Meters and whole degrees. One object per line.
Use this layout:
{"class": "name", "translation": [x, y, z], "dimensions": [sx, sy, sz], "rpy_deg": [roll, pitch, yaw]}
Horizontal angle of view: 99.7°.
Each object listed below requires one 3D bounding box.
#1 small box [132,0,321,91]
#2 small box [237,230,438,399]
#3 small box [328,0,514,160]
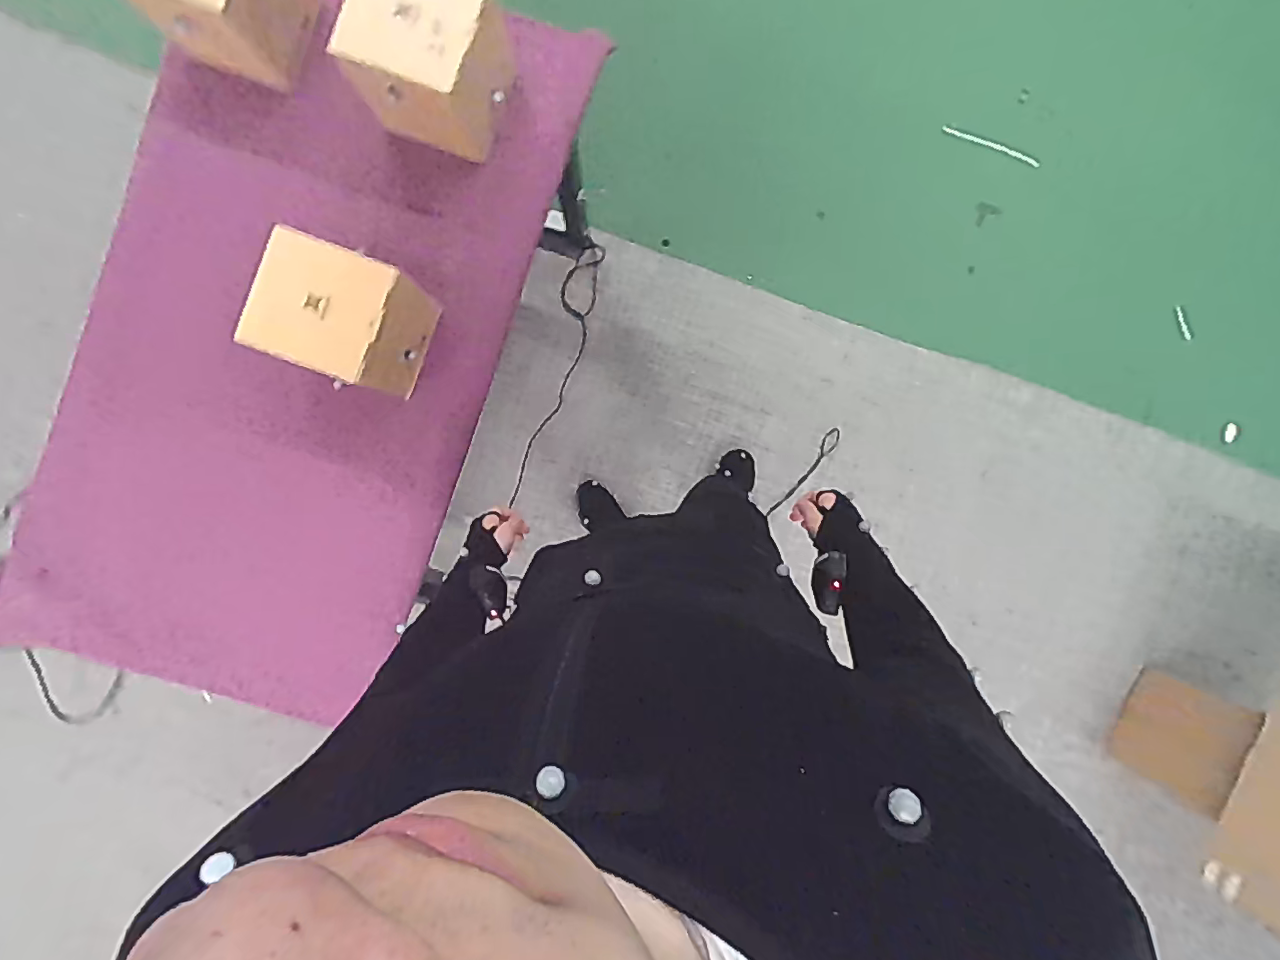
{"class": "small box", "translation": [-0.614, -0.720, 0.788], "dimensions": [0.179, 0.176, 0.168], "rpy_deg": [19, 92, -4]}
{"class": "small box", "translation": [-0.434, -0.231, 0.805], "dimensions": [0.179, 0.176, 0.168], "rpy_deg": [20, 89, -2]}
{"class": "small box", "translation": [-0.310, -0.616, 0.801], "dimensions": [0.179, 0.176, 0.168], "rpy_deg": [20, 91, -1]}
